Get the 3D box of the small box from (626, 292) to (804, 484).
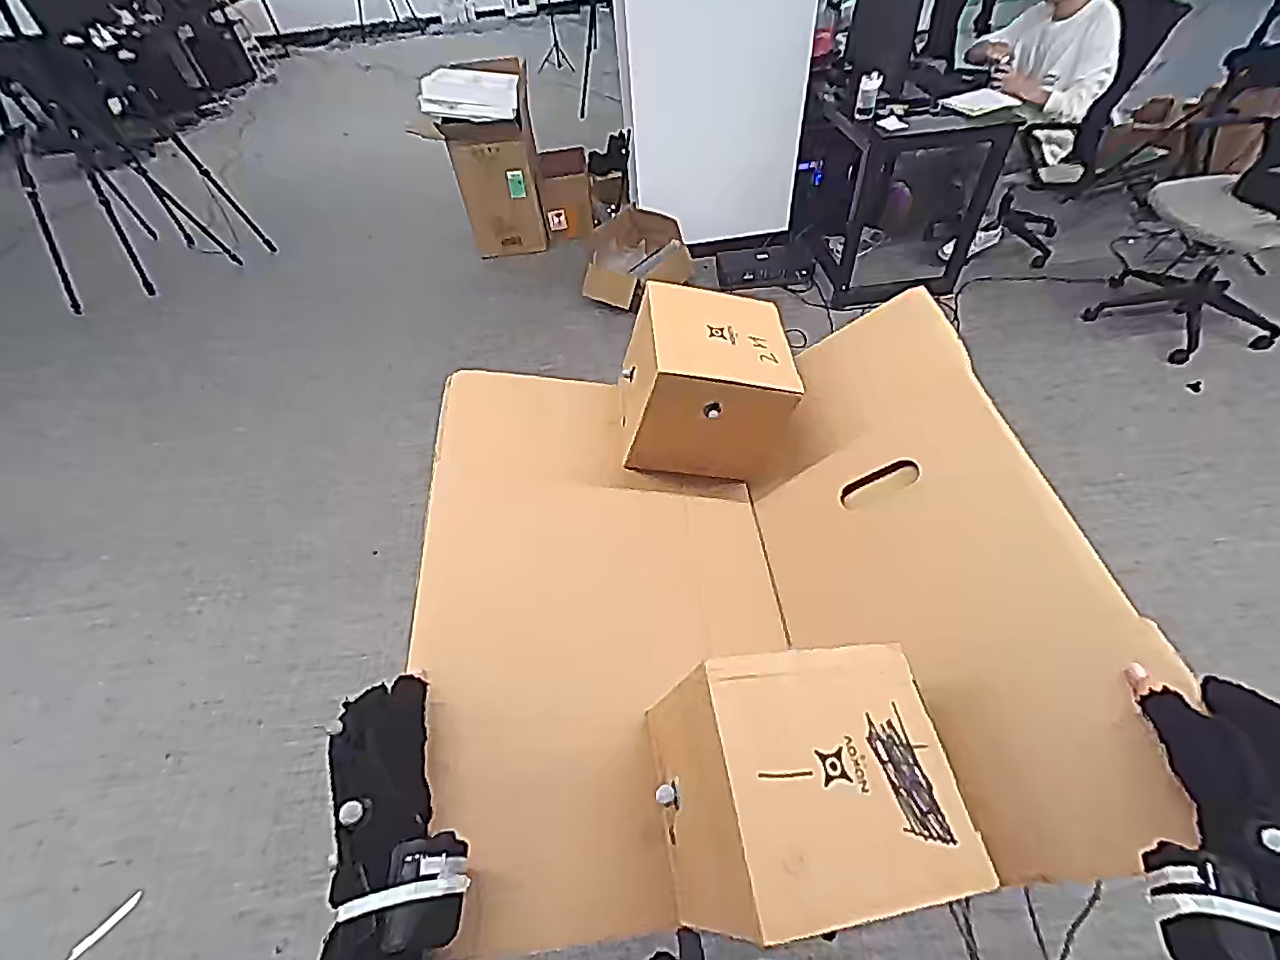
[{"bbox_3d":[0.079,-0.110,0.697,0.179,0.176,0.168,7,52,-13],"label":"small box"}]
